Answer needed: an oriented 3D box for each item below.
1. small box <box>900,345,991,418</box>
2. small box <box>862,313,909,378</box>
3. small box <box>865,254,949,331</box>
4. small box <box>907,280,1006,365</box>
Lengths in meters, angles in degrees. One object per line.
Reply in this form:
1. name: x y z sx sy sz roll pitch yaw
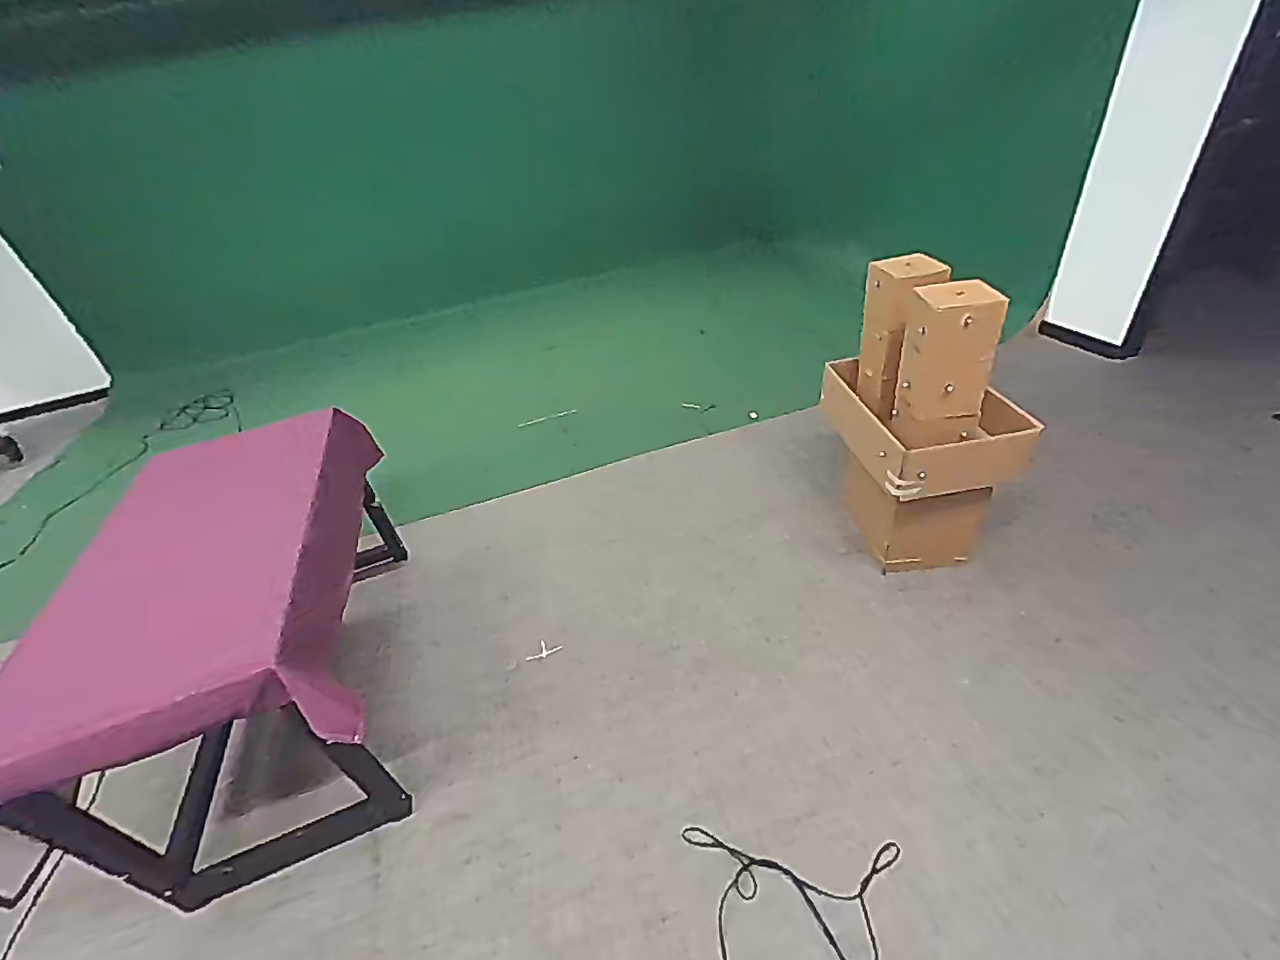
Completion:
1. small box: 0.866 -0.291 1.554 0.179 0.176 0.168 -7 36 6
2. small box: 0.849 -0.455 1.783 0.168 0.176 0.179 -12 38 0
3. small box: 0.821 -0.583 1.683 0.168 0.176 0.179 -12 38 0
4. small box: 0.840 -0.422 1.458 0.179 0.176 0.168 -5 37 7
